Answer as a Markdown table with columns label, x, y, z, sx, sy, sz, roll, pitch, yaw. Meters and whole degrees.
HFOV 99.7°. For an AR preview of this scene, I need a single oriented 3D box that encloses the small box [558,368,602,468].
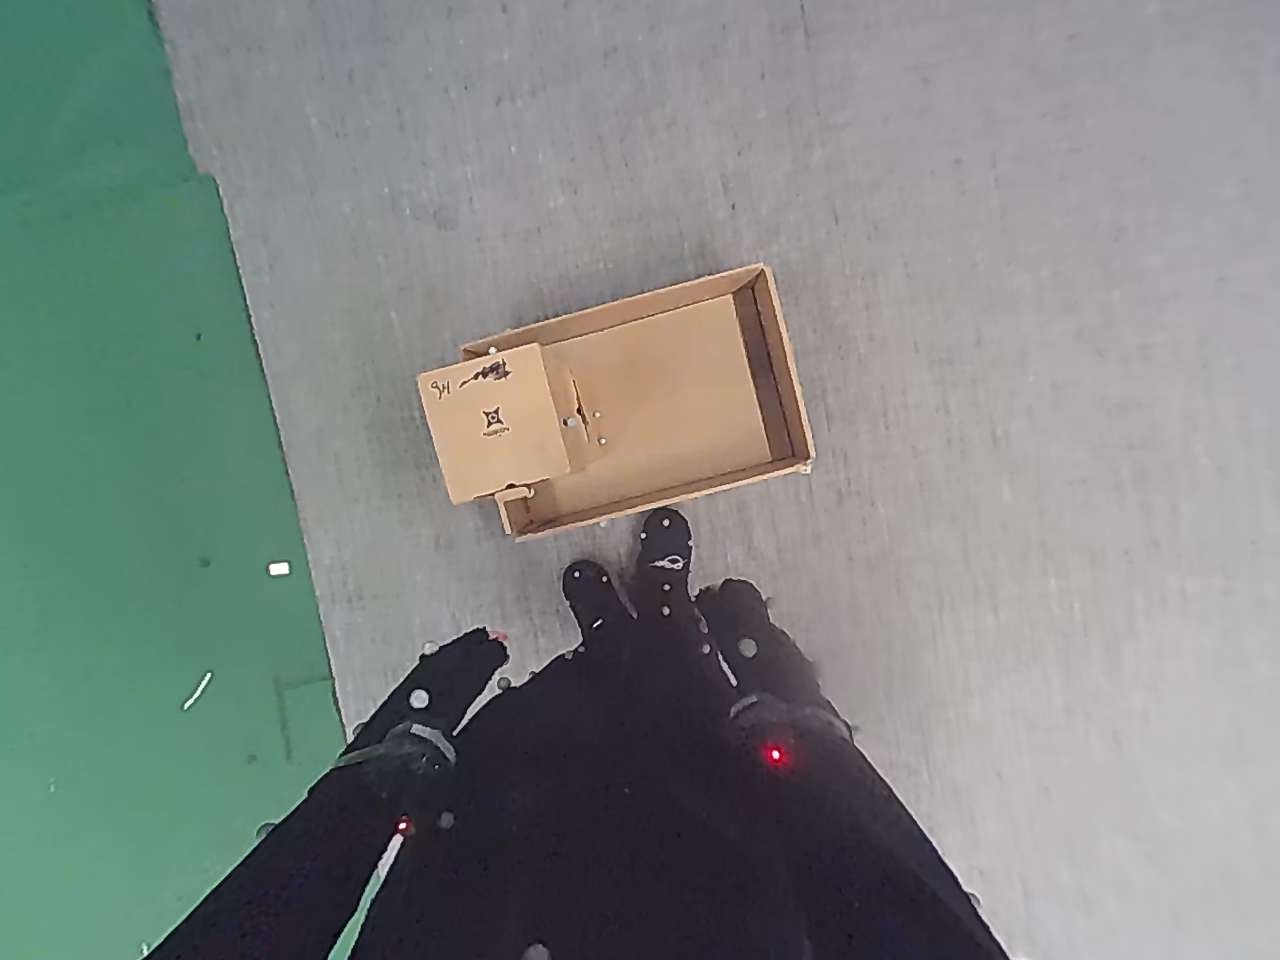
| label | x | y | z | sx | sy | sz | roll | pitch | yaw |
| --- | --- | --- | --- | --- | --- | --- | --- | --- | --- |
| small box | -0.169 | -0.088 | 0.946 | 0.179 | 0.176 | 0.168 | -14 | 93 | 4 |

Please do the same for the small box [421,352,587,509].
| label | x | y | z | sx | sy | sz | roll | pitch | yaw |
| --- | --- | --- | --- | --- | --- | --- | --- | --- | --- |
| small box | -0.182 | -0.070 | 0.784 | 0.168 | 0.176 | 0.179 | -15 | 94 | 3 |
